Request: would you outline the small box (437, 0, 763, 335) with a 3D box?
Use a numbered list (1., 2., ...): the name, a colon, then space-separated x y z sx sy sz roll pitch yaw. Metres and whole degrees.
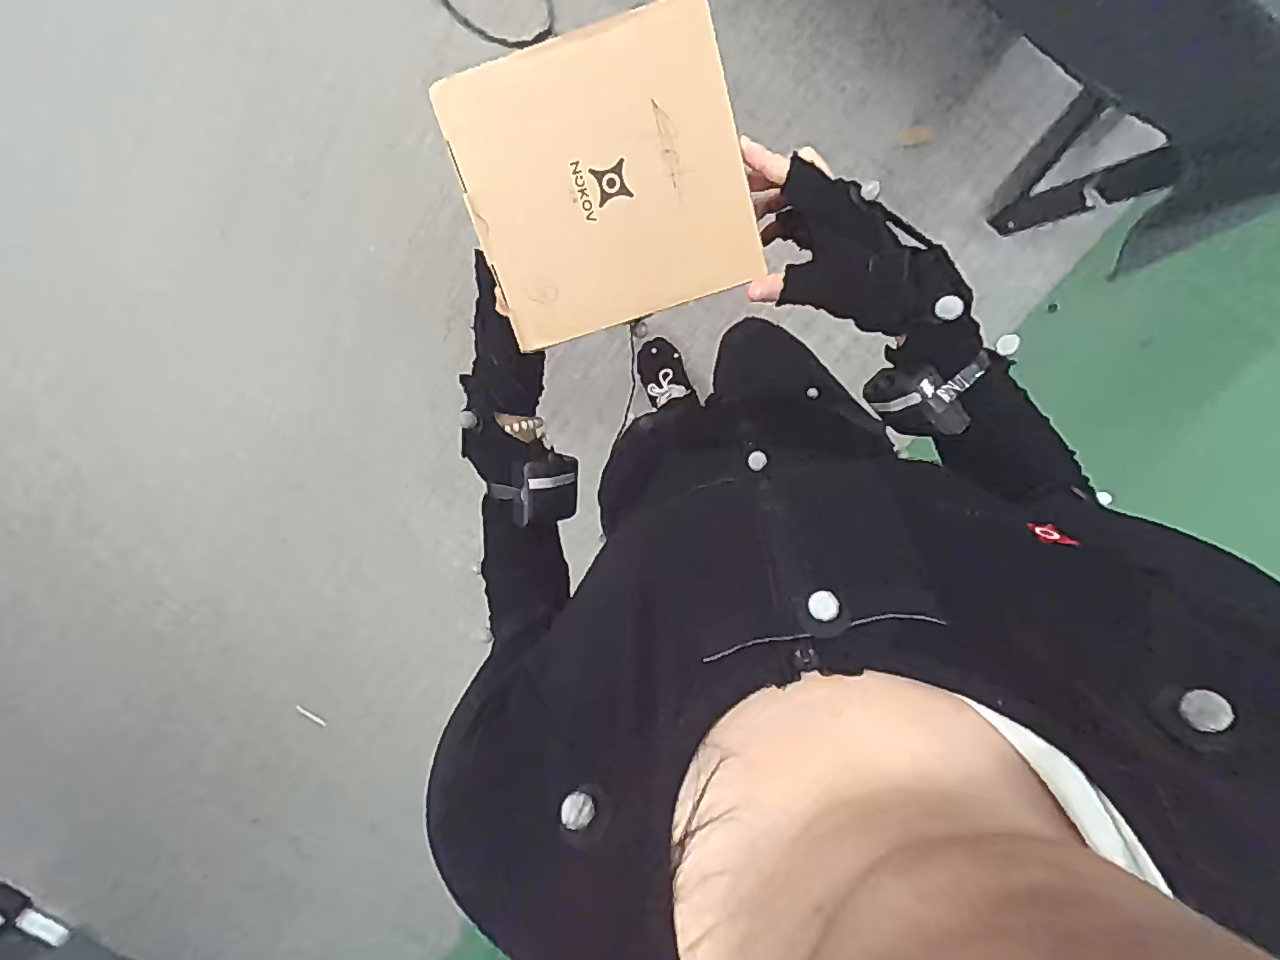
1. small box: -0.021 -0.214 0.418 0.179 0.176 0.168 -15 106 4
